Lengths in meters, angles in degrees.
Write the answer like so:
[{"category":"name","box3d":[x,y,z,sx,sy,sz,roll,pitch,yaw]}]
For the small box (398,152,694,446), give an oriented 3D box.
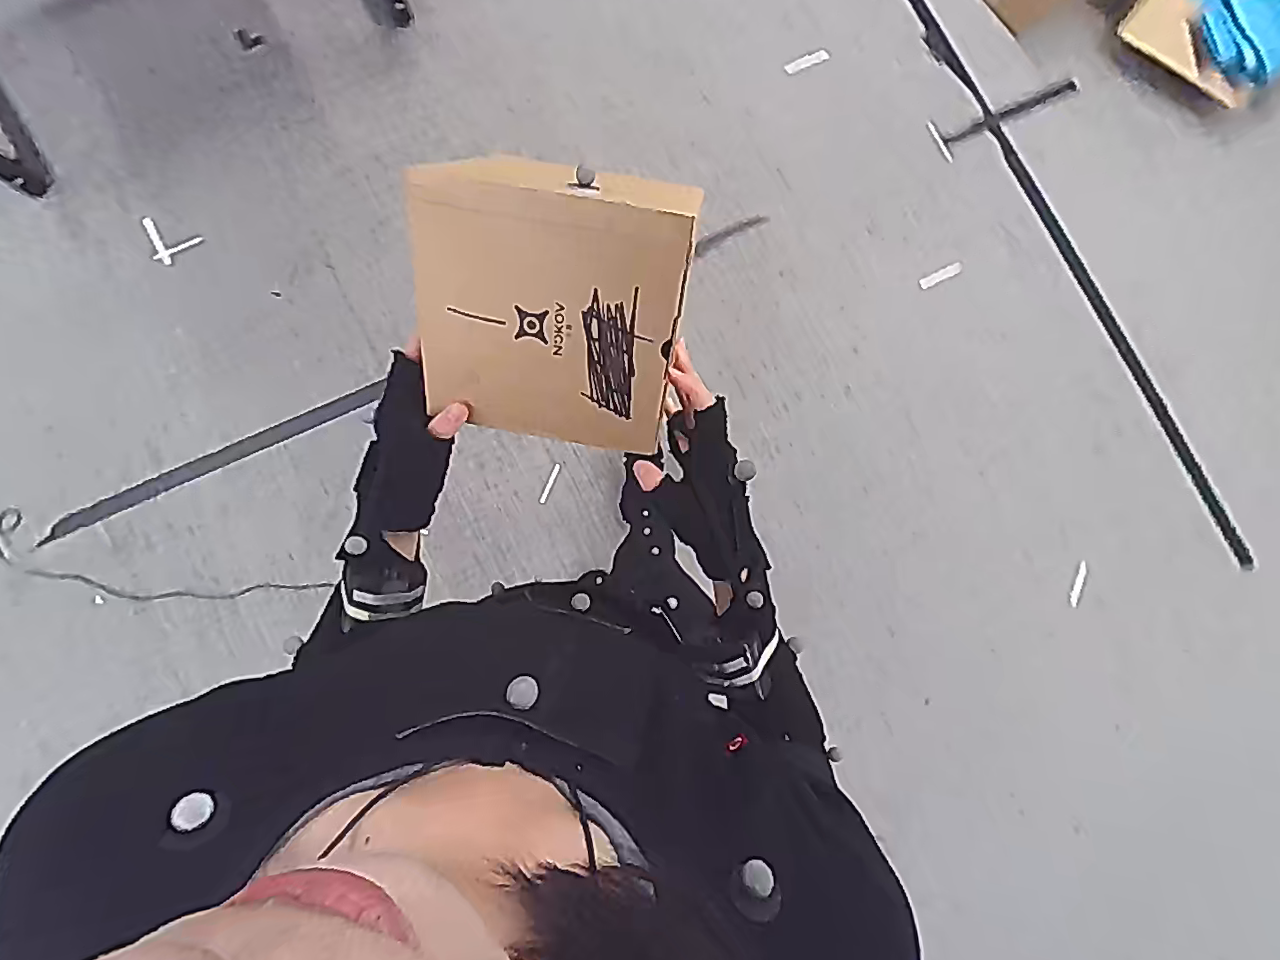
[{"category":"small box","box3d":[-0.057,-0.148,0.420,0.179,0.176,0.168,10,123,2]}]
